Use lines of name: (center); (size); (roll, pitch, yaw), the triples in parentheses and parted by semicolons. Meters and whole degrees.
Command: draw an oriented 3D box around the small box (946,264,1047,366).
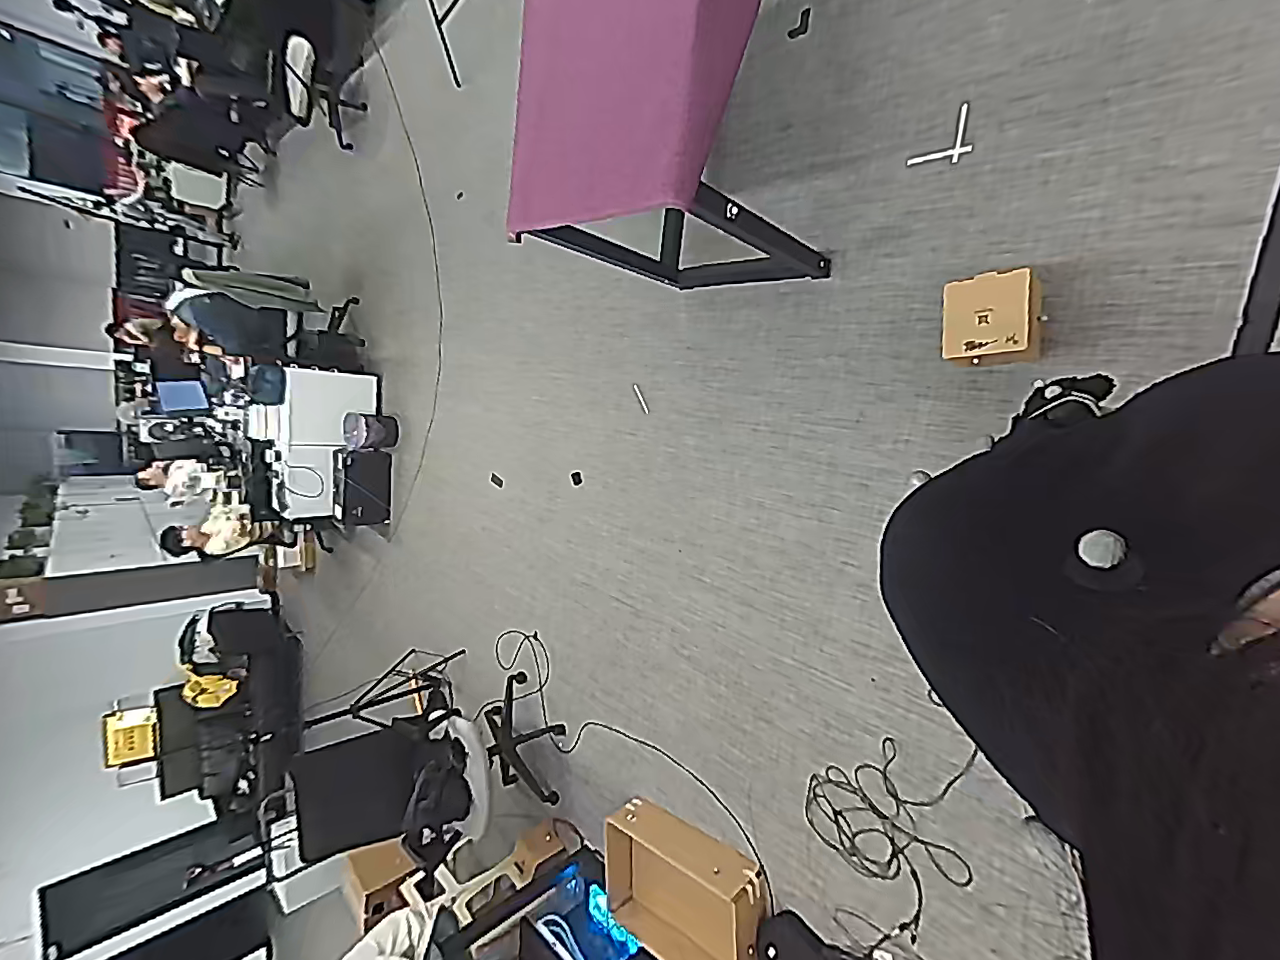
small box: (0.815, -0.367, 1.235); (0.168, 0.176, 0.179); (2, 93, 44)
